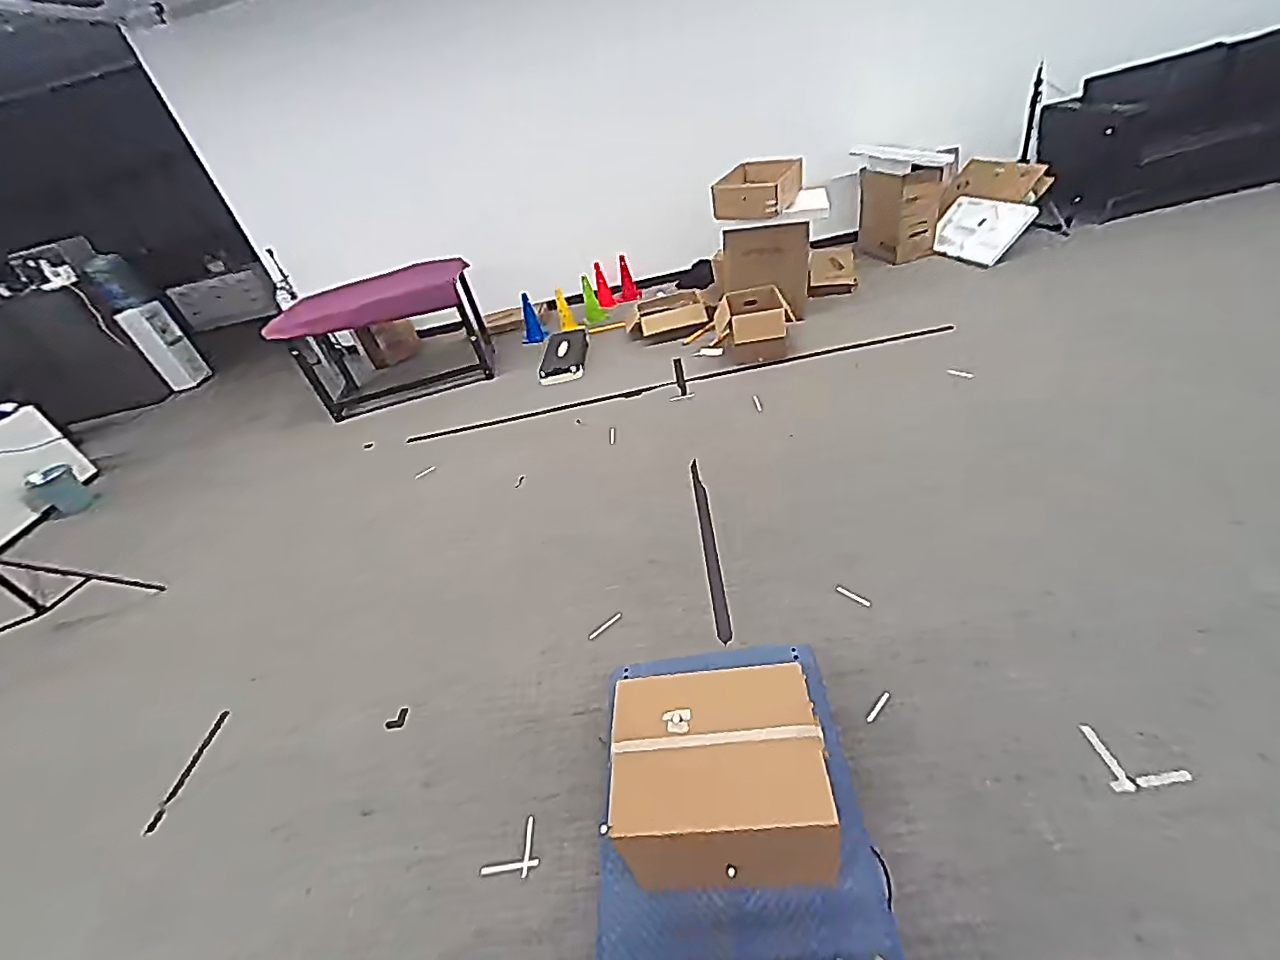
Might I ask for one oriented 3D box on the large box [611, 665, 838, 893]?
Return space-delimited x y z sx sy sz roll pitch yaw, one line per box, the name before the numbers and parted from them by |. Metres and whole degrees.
large box | 0.176 0.640 1.155 0.408 0.320 0.320 -10 35 8
